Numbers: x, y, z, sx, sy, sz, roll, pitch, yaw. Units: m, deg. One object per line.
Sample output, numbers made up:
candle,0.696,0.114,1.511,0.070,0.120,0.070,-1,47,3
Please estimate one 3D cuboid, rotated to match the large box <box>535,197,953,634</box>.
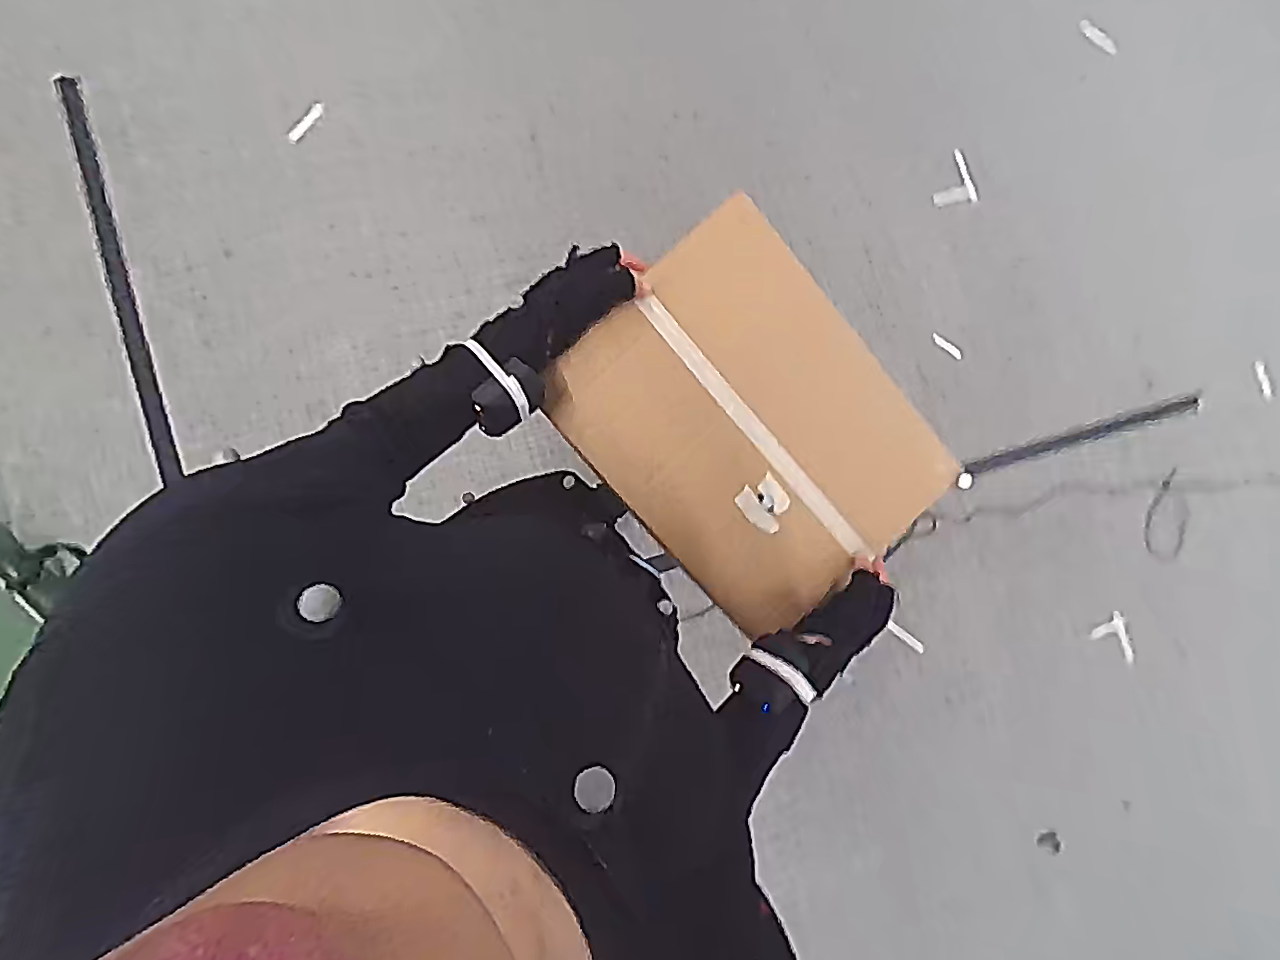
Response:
large box,0.108,-0.076,0.750,0.320,0.320,0.408,-42,98,-2
